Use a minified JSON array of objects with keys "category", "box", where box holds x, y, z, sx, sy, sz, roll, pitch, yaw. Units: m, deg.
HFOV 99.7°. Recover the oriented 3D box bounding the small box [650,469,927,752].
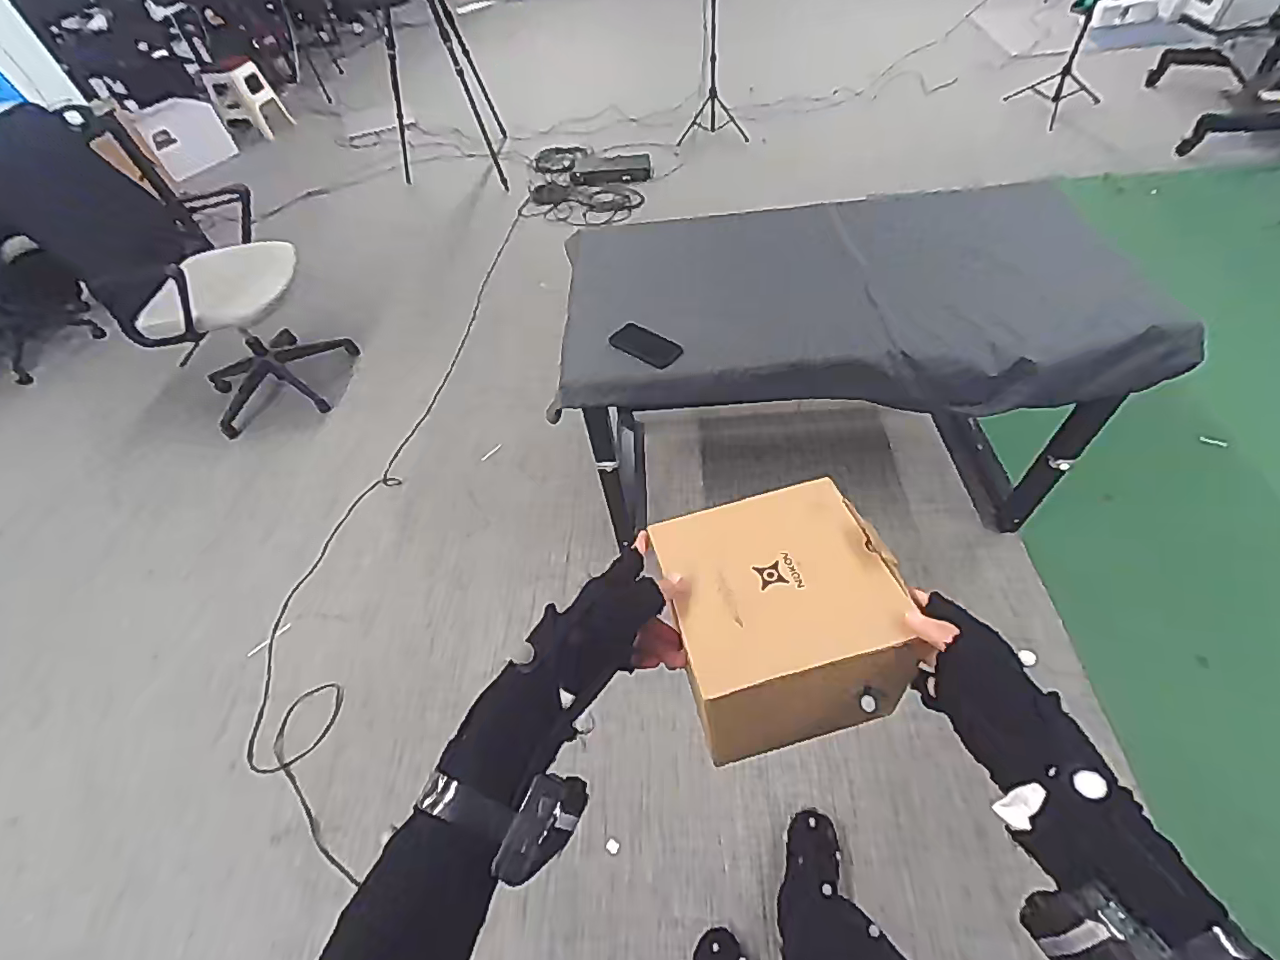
[{"category":"small box","box":[0.120,0.122,0.497,0.179,0.176,0.168,-16,46,-2]}]
